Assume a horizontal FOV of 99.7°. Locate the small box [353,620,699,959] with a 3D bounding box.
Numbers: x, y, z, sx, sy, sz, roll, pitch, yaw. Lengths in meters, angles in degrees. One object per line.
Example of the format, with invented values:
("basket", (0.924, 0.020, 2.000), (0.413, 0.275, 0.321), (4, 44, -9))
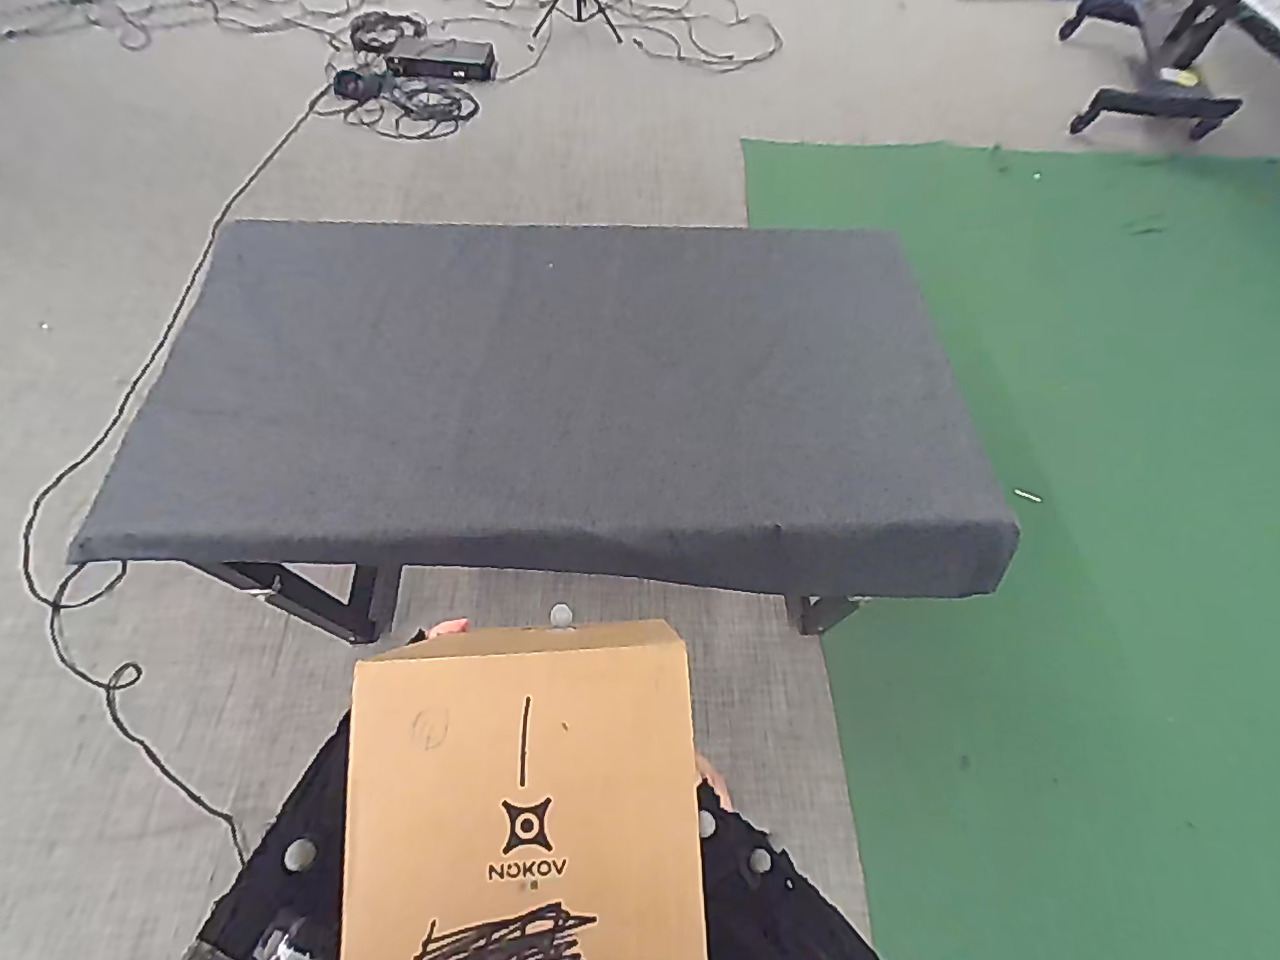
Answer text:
("small box", (-0.054, 0.186, 0.343), (0.168, 0.176, 0.179), (-2, 79, -2))
